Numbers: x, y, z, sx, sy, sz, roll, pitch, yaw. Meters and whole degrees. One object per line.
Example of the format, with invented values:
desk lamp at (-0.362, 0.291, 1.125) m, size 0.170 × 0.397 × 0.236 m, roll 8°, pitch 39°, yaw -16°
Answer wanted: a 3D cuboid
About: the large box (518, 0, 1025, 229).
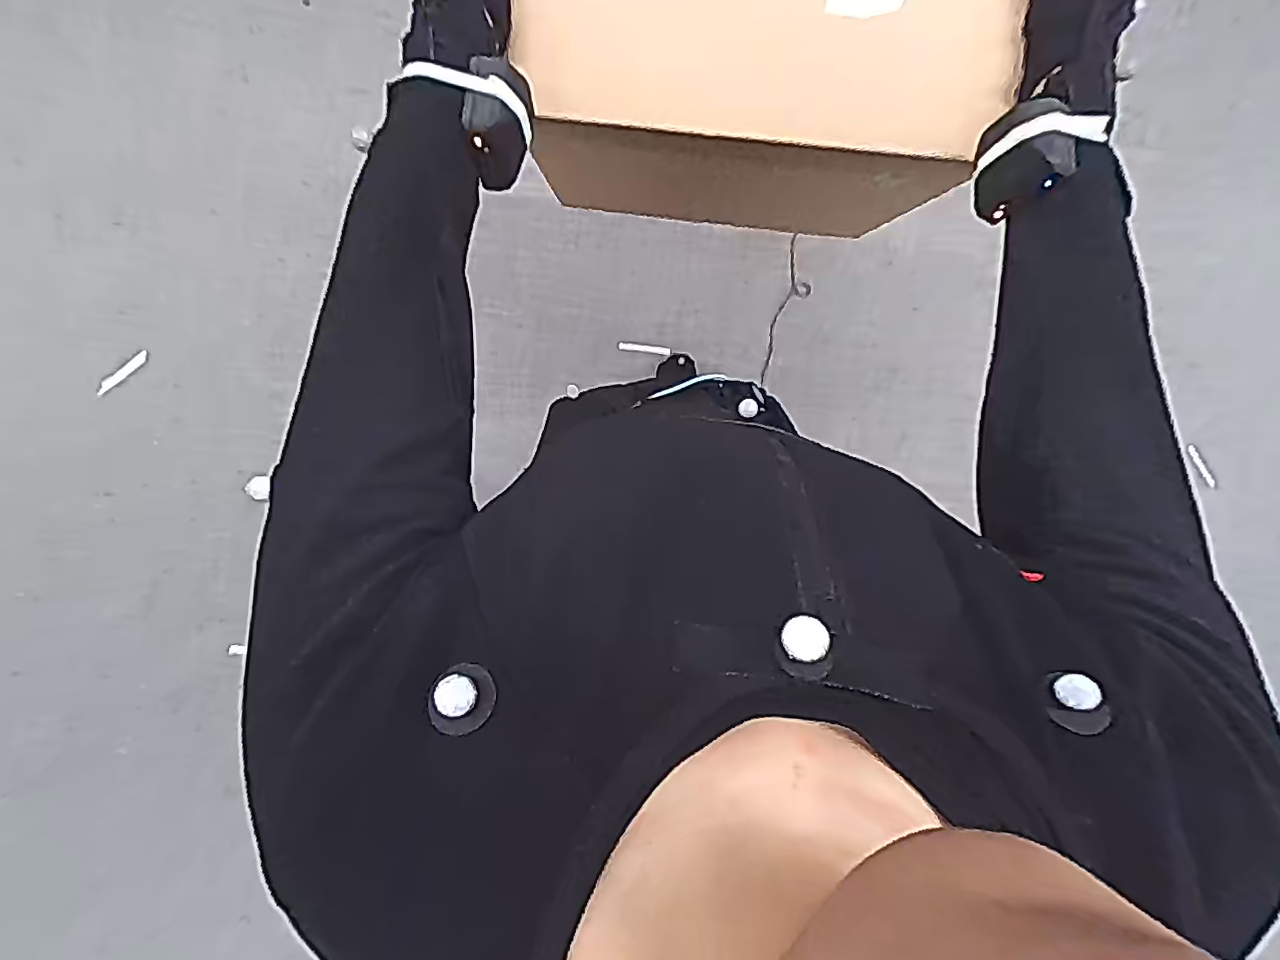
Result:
large box at (0.106, -0.467, 0.554) m, size 0.408 × 0.320 × 0.320 m, roll 5°, pitch 105°, yaw -1°
